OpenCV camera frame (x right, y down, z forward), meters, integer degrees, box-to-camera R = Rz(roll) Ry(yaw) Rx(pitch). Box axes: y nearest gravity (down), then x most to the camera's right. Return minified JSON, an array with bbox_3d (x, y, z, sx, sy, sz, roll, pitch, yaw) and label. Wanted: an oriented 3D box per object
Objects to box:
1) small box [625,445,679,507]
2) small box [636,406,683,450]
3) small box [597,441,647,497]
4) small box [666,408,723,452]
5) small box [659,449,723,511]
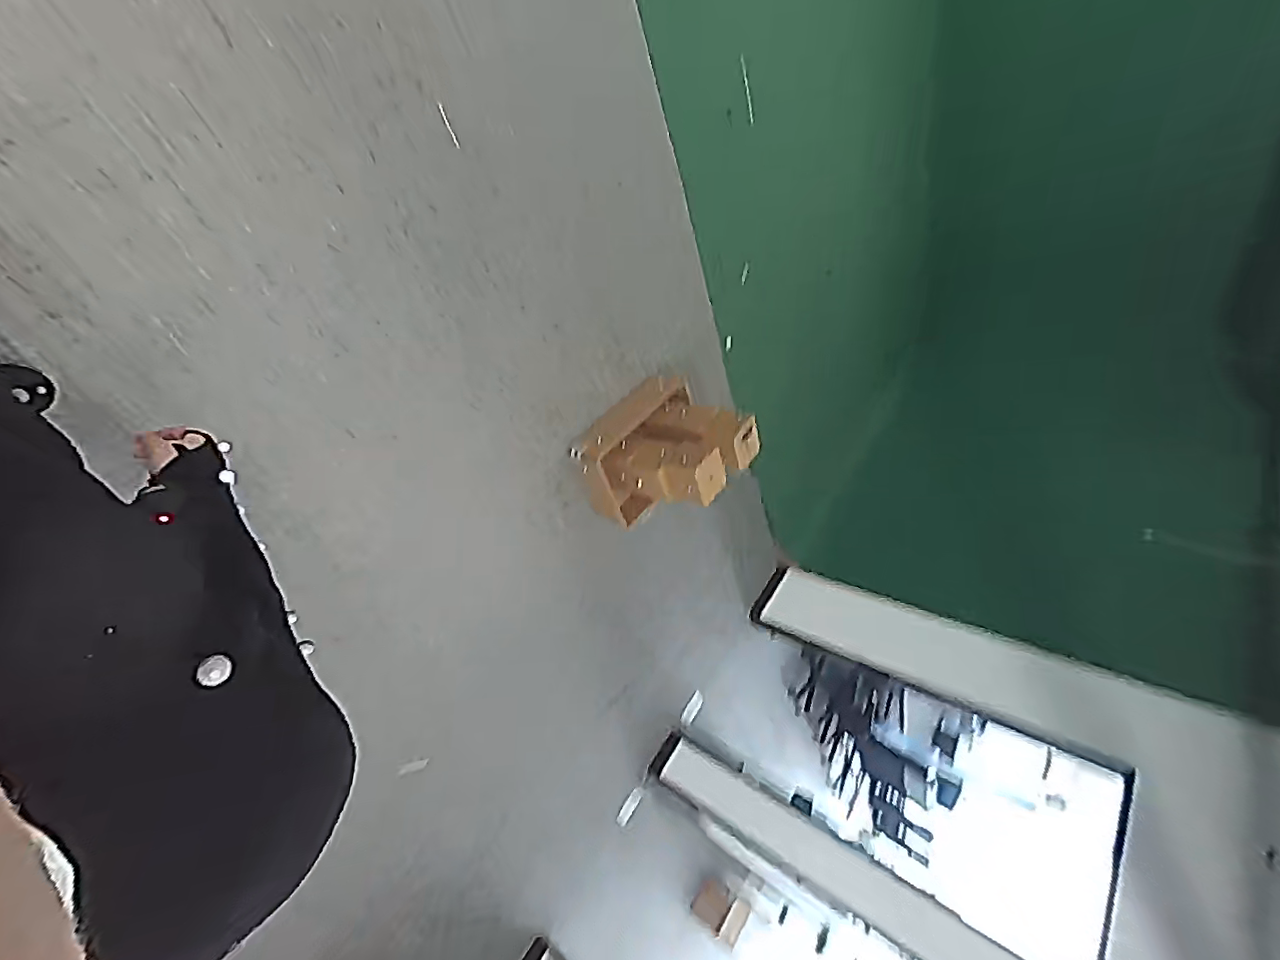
[{"bbox_3d":[0.066,-0.022,2.203,0.179,0.176,0.168,-48,133,-29],"label":"small box"},{"bbox_3d":[0.107,-0.222,2.454,0.168,0.176,0.179,-46,131,-30],"label":"small box"},{"bbox_3d":[-0.059,-0.053,2.307,0.168,0.176,0.179,-45,132,-33],"label":"small box"},{"bbox_3d":[0.230,-0.192,2.345,0.179,0.176,0.168,-46,133,-30],"label":"small box"},{"bbox_3d":[0.196,-0.009,2.105,0.168,0.176,0.179,-44,131,-33],"label":"small box"}]
